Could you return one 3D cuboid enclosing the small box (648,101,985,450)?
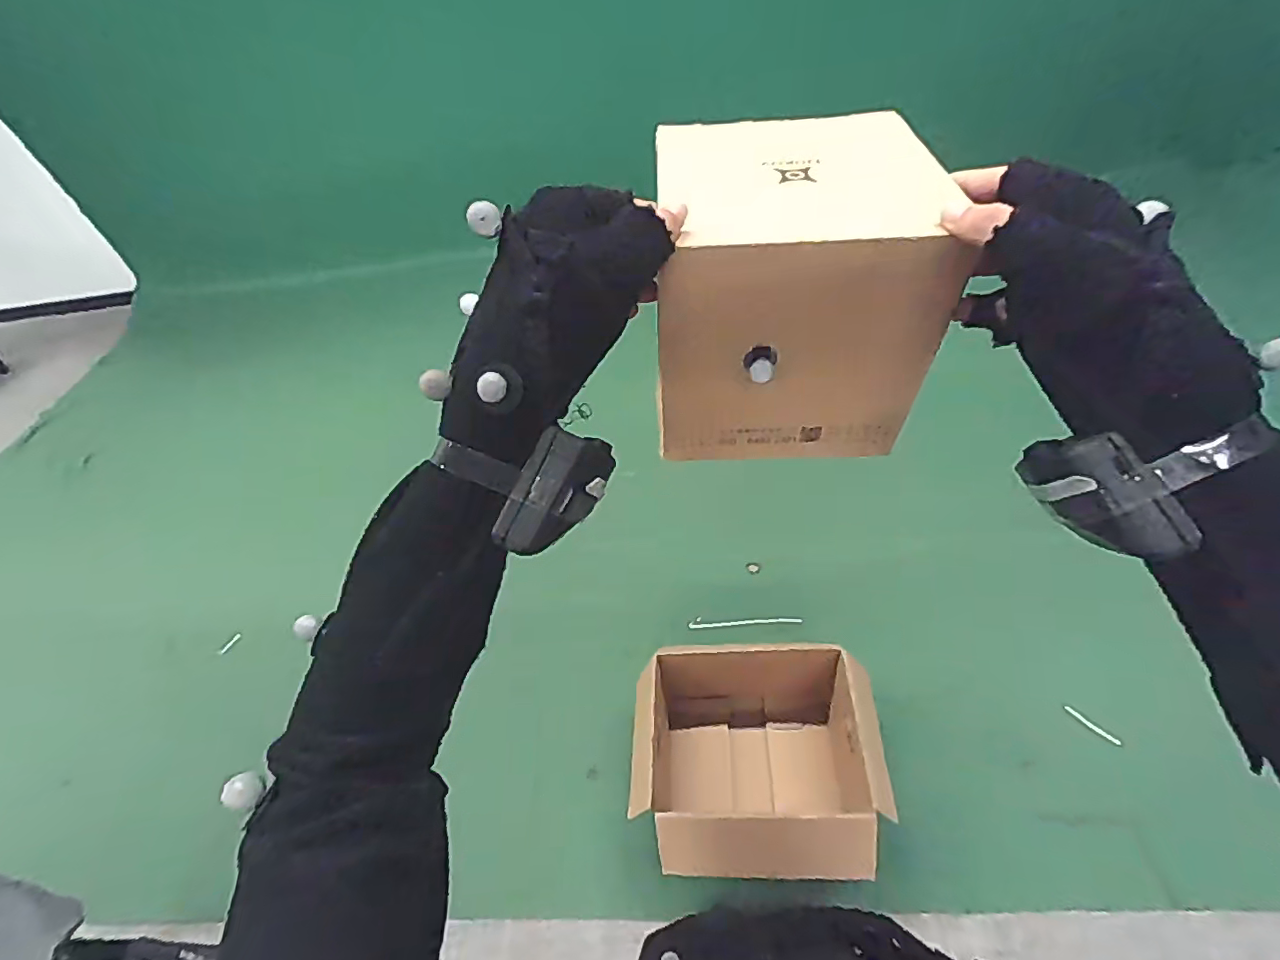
[{"bbox_3d":[0.094,-0.133,0.377,0.168,0.176,0.179,-1,51,3],"label":"small box"}]
